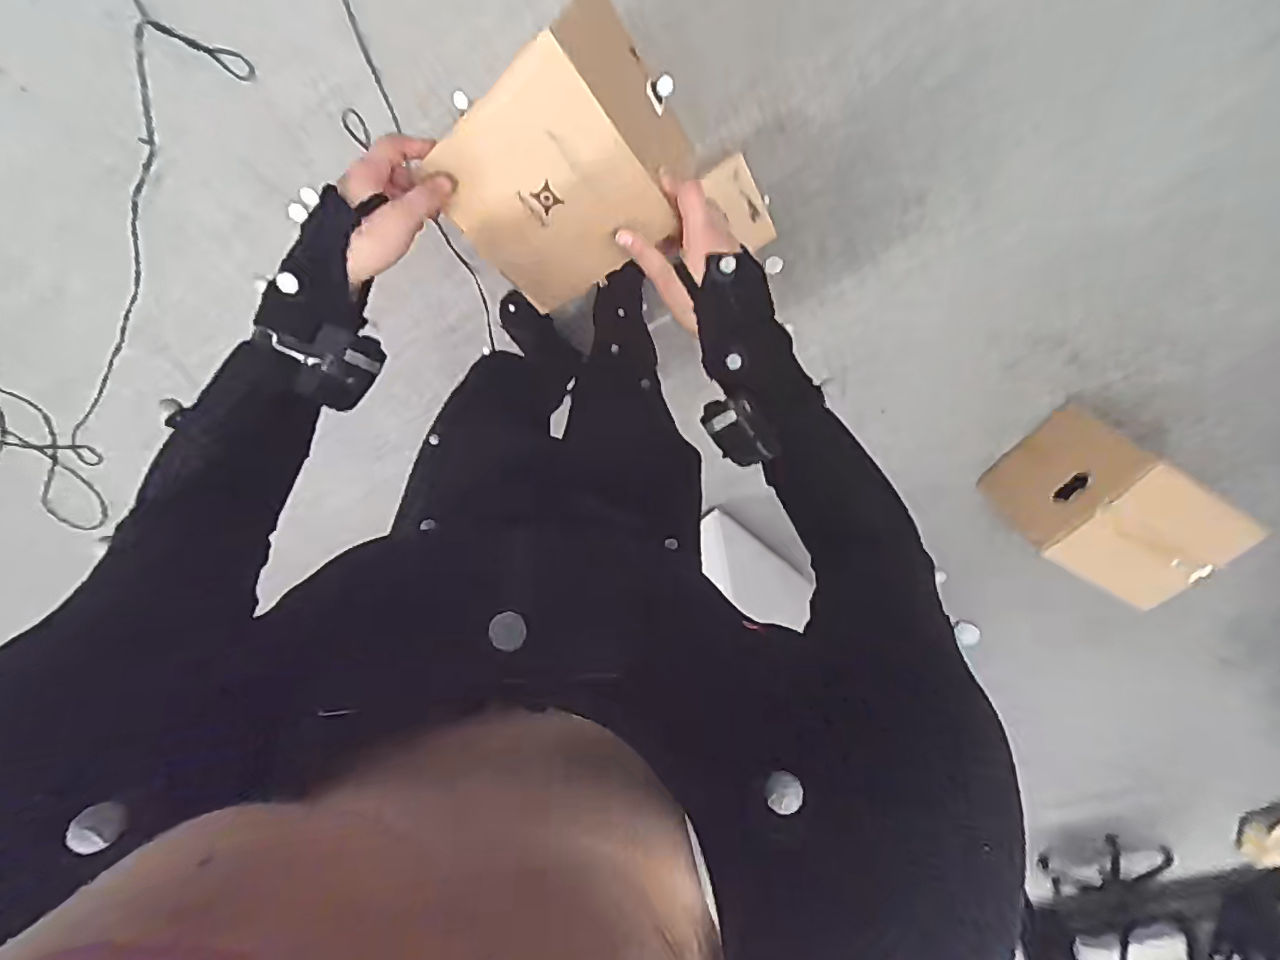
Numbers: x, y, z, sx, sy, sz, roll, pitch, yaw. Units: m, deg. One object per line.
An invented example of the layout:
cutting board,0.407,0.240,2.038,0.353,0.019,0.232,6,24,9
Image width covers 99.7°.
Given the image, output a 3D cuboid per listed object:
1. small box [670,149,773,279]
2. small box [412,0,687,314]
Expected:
small box,0.150,-0.546,1.108,0.179,0.176,0.168,-26,121,17
small box,-0.072,-0.301,0.511,0.179,0.176,0.168,-21,135,34
